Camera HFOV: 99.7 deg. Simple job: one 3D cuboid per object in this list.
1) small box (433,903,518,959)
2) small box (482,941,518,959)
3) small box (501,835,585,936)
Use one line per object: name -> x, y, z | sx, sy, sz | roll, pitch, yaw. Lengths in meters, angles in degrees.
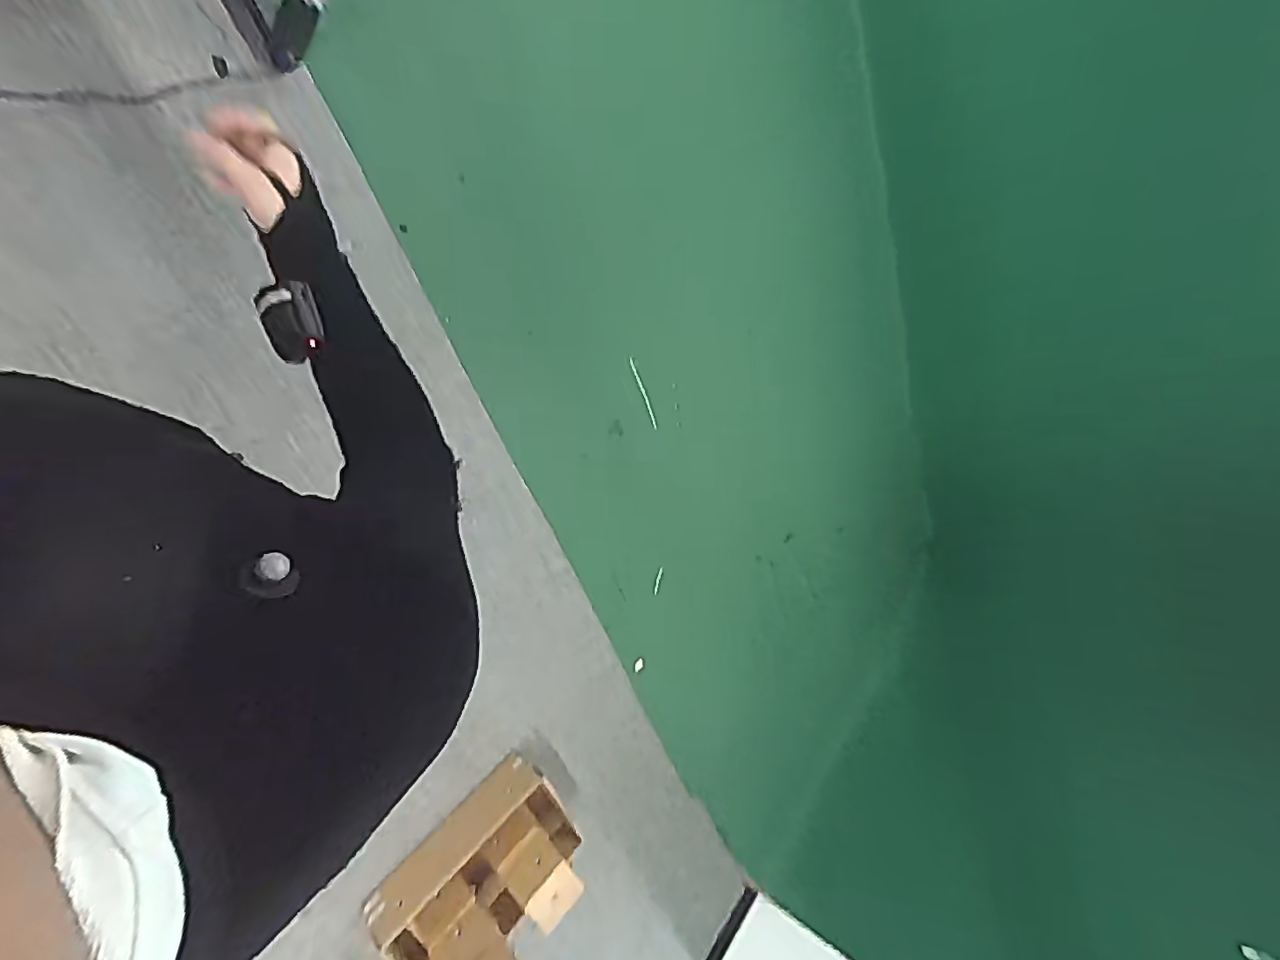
small box -> -0.482, 1.413, 1.586 | 0.179, 0.176, 0.168 | -36, 117, -34
small box -> -0.382, 1.418, 1.453 | 0.179, 0.176, 0.168 | -27, 112, -38
small box -> -0.313, 1.285, 1.731 | 0.168, 0.176, 0.179 | -40, 120, -30
